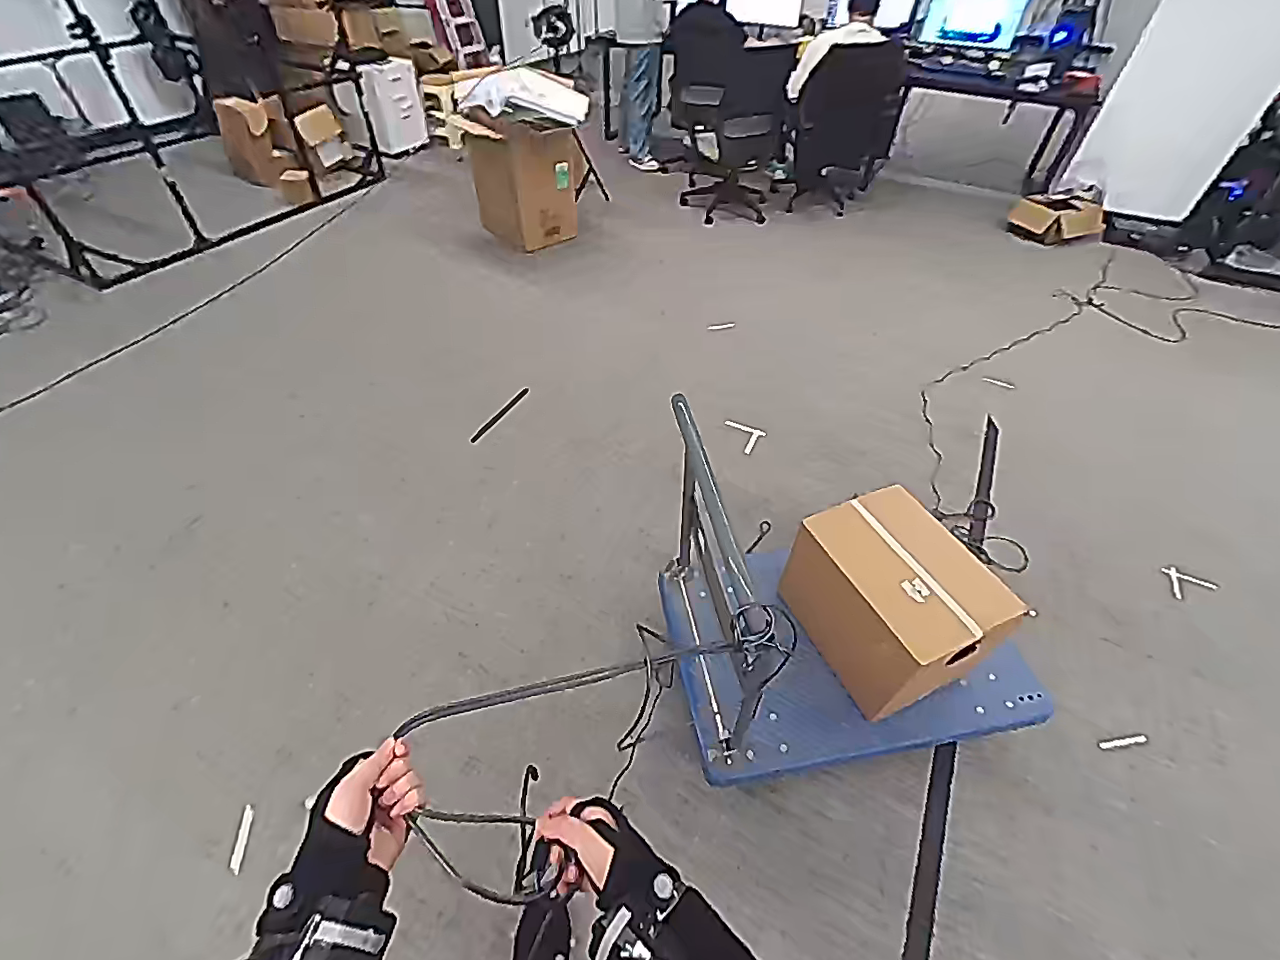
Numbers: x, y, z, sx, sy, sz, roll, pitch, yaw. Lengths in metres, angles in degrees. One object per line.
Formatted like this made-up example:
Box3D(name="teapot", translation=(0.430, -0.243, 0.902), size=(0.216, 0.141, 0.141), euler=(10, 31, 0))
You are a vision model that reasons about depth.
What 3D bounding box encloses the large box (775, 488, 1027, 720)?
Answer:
Box3D(name="large box", translation=(0.597, 0.293, 1.328), size=(0.320, 0.320, 0.408), euler=(-17, 50, -17))
